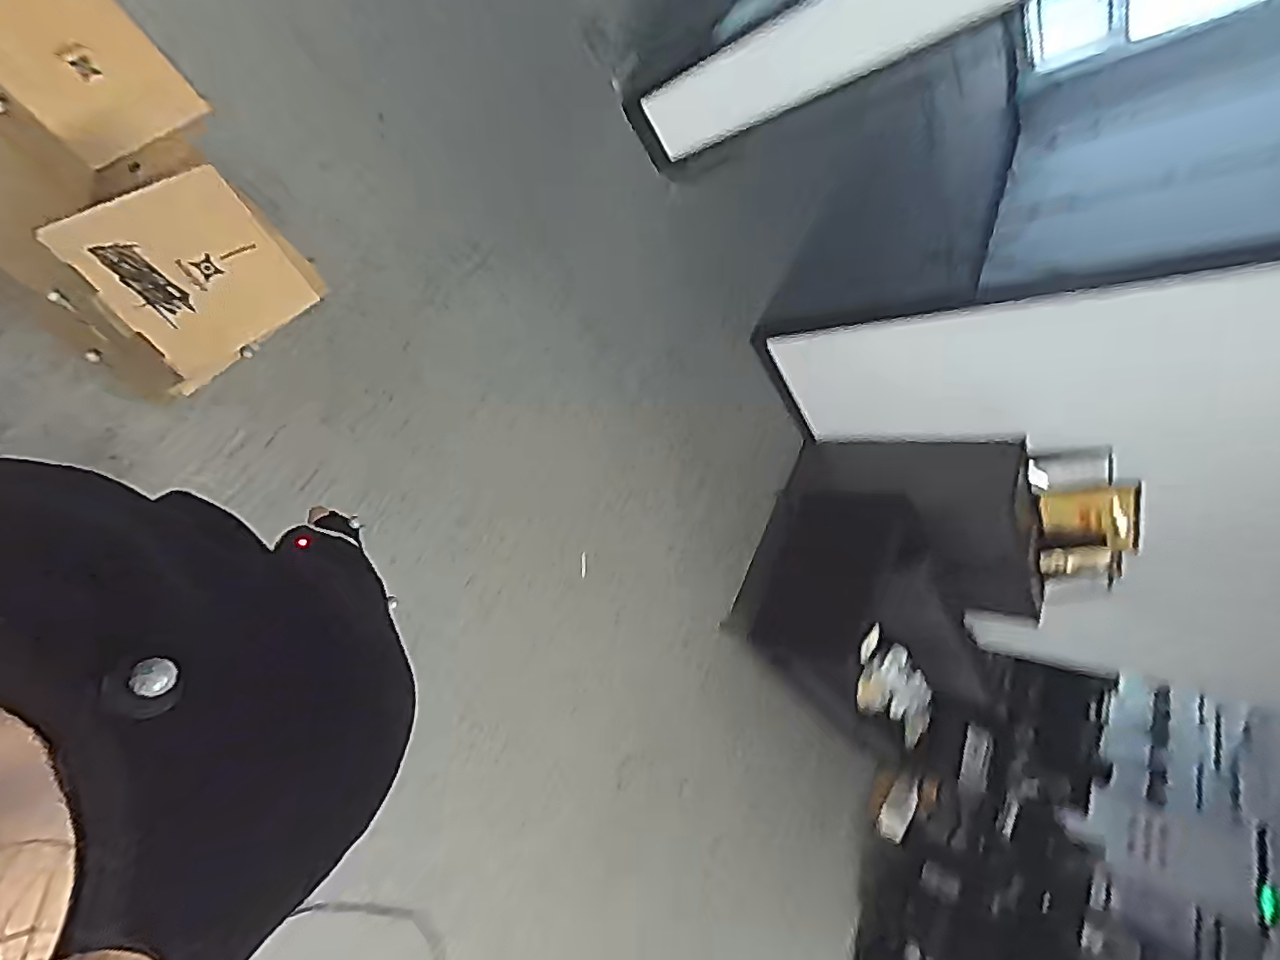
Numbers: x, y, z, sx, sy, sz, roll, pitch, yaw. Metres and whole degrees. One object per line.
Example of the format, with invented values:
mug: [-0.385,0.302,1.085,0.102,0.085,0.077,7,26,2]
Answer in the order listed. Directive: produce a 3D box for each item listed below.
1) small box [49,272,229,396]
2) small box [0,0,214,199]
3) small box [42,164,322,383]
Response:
small box: [-0.650,-0.235,0.747,0.179,0.176,0.168,-56,129,-29]
small box: [-0.695,-0.484,0.679,0.179,0.176,0.168,53,56,-34]
small box: [-0.528,-0.230,0.635,0.179,0.176,0.168,-53,128,-33]
